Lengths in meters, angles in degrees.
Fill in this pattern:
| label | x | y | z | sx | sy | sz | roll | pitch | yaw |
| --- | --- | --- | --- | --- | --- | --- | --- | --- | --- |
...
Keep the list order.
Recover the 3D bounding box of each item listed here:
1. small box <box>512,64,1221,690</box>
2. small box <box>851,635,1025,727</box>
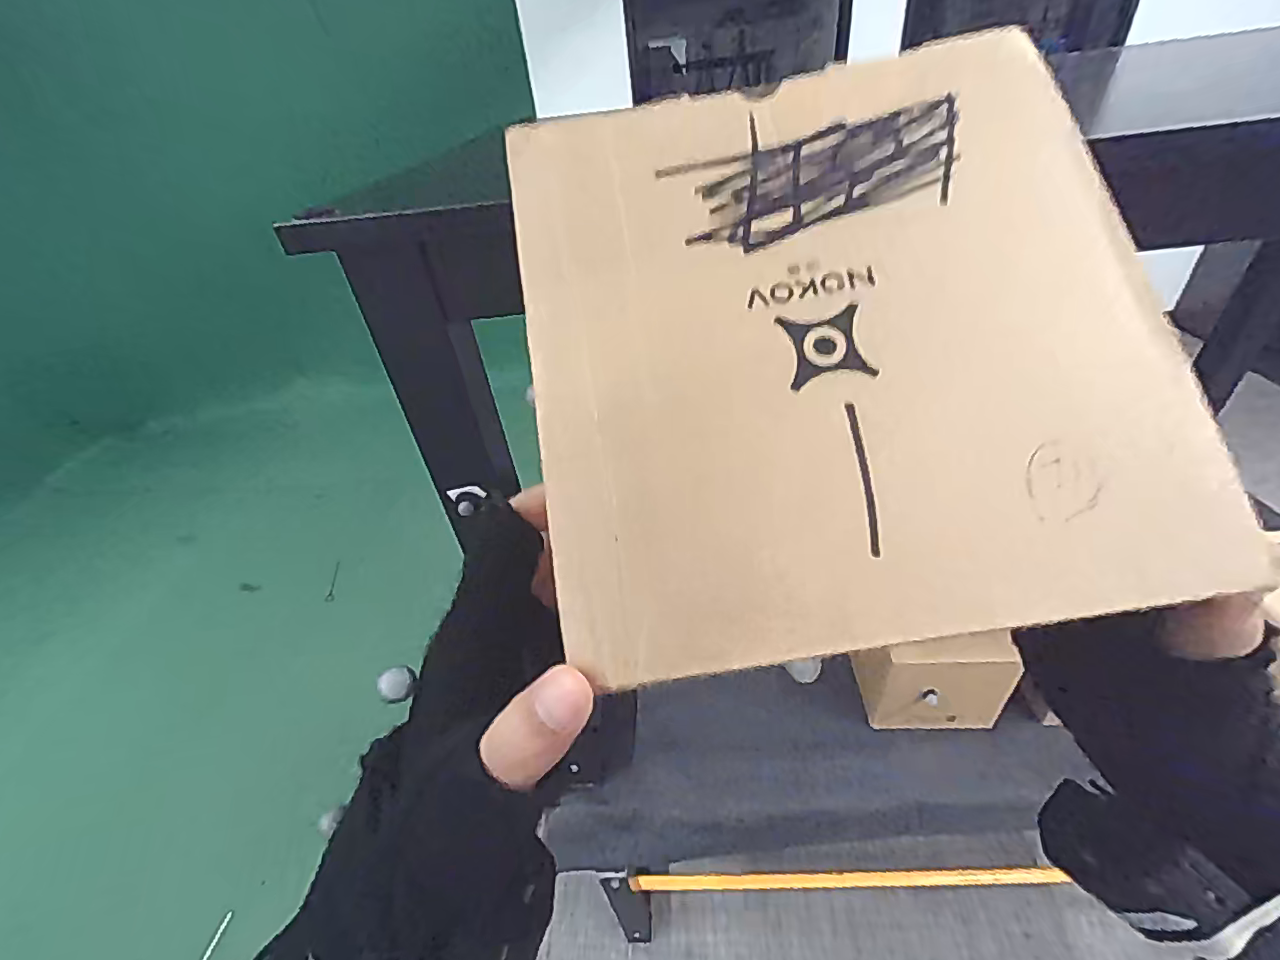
| label | x | y | z | sx | sy | sz | roll | pitch | yaw |
| --- | --- | --- | --- | --- | --- | --- | --- | --- | --- |
| small box | 0.055 | -0.019 | 0.233 | 0.168 | 0.176 | 0.179 | -10 | 75 | 4 |
| small box | 0.407 | 0.237 | 0.782 | 0.168 | 0.176 | 0.179 | -3 | 37 | 6 |
